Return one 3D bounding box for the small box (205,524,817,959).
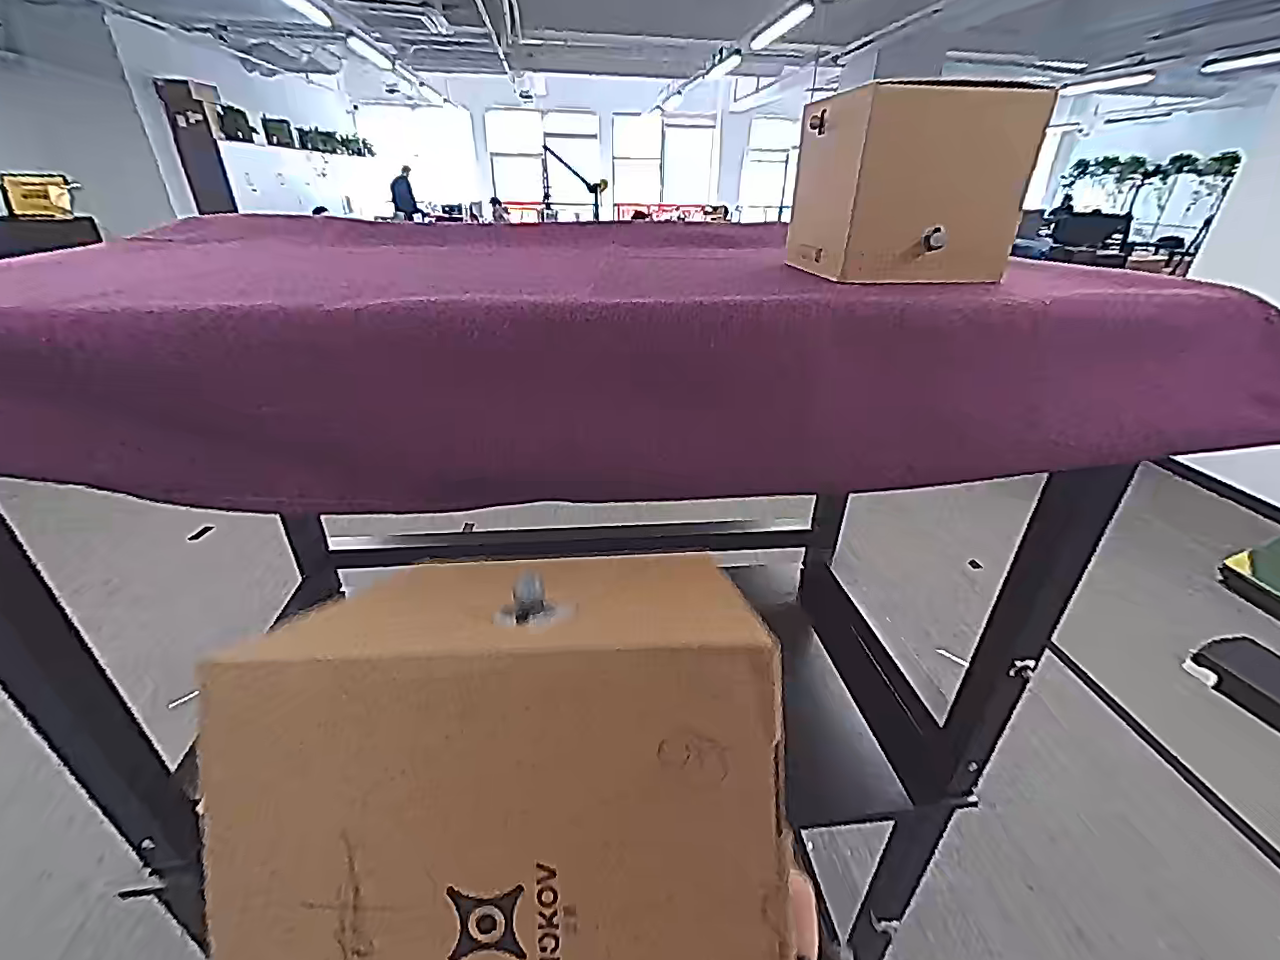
[{"bbox_3d":[-0.036,0.111,0.238,0.179,0.168,0.176,-1,3,0],"label":"small box"}]

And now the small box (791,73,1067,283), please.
[{"bbox_3d":[0.279,-0.308,0.570,0.179,0.176,0.168,-2,28,-6],"label":"small box"}]
